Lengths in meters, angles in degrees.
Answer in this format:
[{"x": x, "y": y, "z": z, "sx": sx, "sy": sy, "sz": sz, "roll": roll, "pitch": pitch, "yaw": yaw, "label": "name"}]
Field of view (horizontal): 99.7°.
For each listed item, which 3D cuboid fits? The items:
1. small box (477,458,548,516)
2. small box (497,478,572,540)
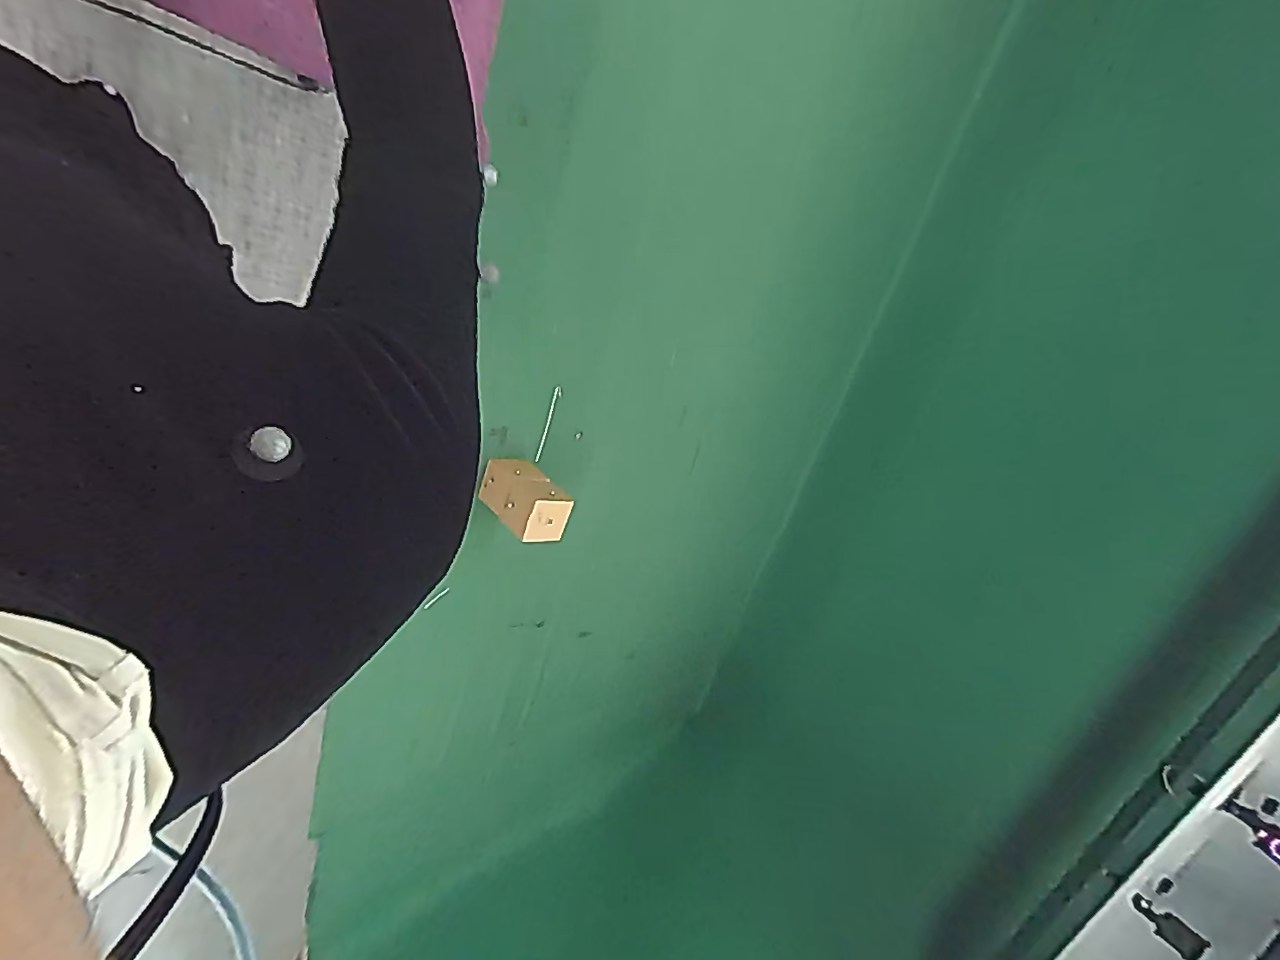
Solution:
[{"x": -0.488, "y": 0.026, "z": 2.059, "sx": 0.179, "sy": 0.176, "sz": 0.168, "roll": 2, "pitch": 115, "yaw": -48, "label": "small box"}, {"x": -0.384, "y": 0.104, "z": 1.958, "sx": 0.179, "sy": 0.176, "sz": 0.168, "roll": 5, "pitch": 113, "yaw": -49, "label": "small box"}]
